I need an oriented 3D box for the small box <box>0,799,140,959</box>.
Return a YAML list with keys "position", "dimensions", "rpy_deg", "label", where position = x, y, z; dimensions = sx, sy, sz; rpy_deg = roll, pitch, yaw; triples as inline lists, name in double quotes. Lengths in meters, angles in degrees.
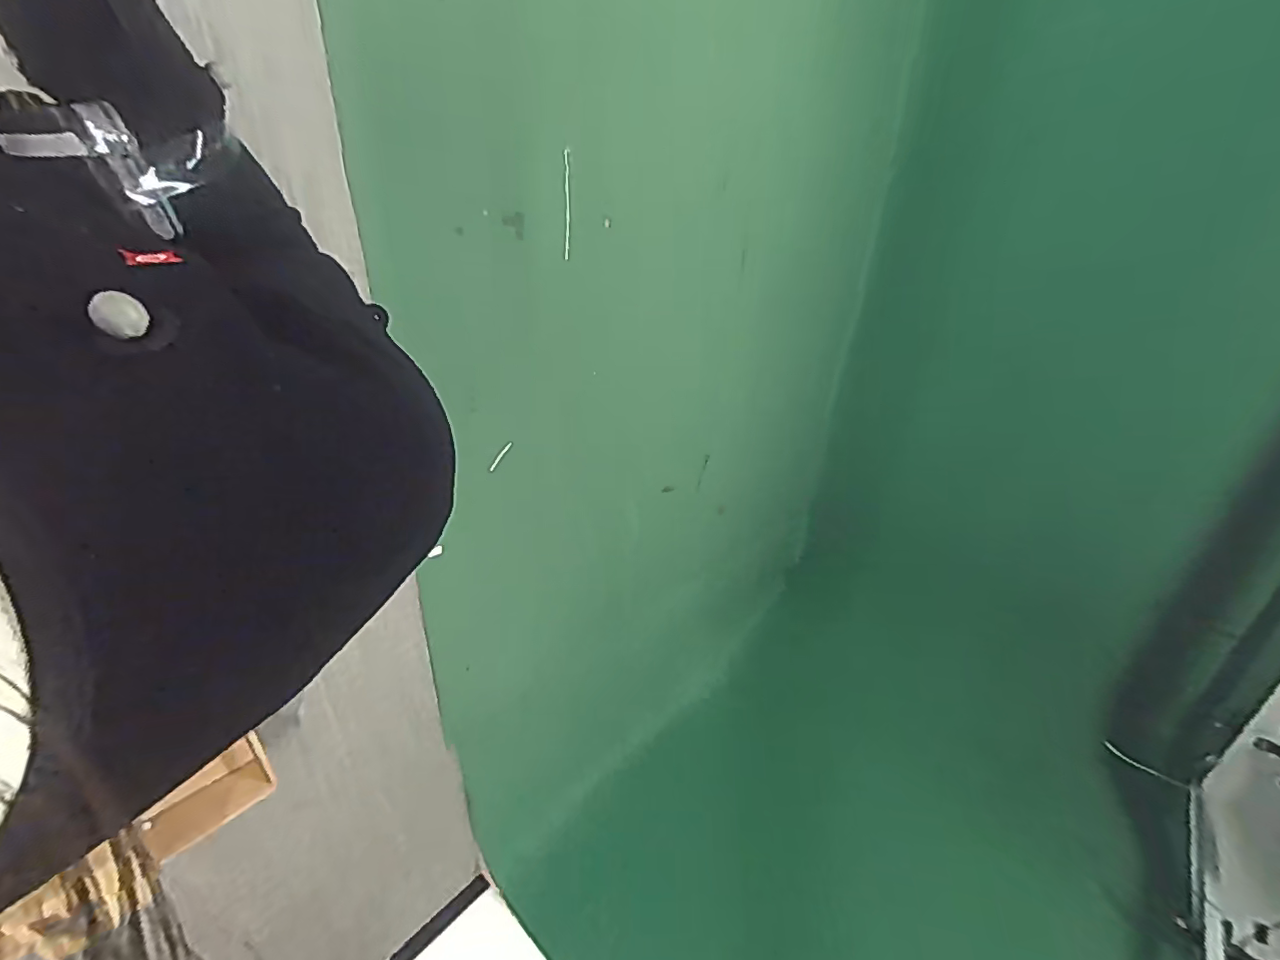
- position: [-1.106, 0.764, 1.025]
  dimensions: [0.179, 0.176, 0.168]
  rpy_deg: [-28, 131, -42]
  label: "small box"
